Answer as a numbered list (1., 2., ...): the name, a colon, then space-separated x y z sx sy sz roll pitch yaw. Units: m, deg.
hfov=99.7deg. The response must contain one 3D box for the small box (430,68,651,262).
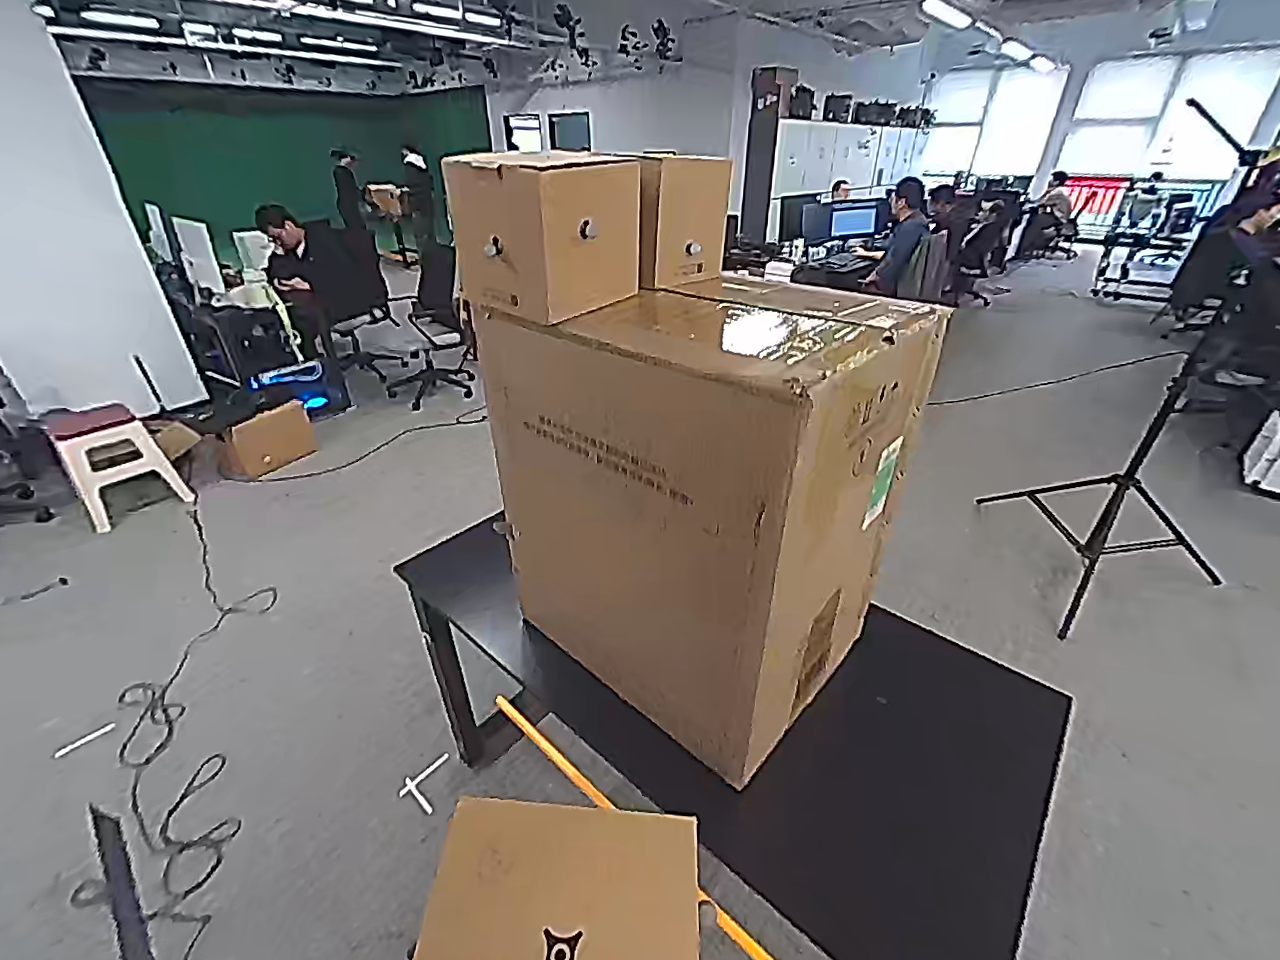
1. small box: -0.100 -0.358 0.613 0.168 0.176 0.179 24 43 29

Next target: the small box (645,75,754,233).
1. small box: 0.031 -0.443 0.749 0.179 0.176 0.168 27 39 34

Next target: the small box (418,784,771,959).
1. small box: -0.027 0.293 0.287 0.168 0.176 0.179 5 41 0
